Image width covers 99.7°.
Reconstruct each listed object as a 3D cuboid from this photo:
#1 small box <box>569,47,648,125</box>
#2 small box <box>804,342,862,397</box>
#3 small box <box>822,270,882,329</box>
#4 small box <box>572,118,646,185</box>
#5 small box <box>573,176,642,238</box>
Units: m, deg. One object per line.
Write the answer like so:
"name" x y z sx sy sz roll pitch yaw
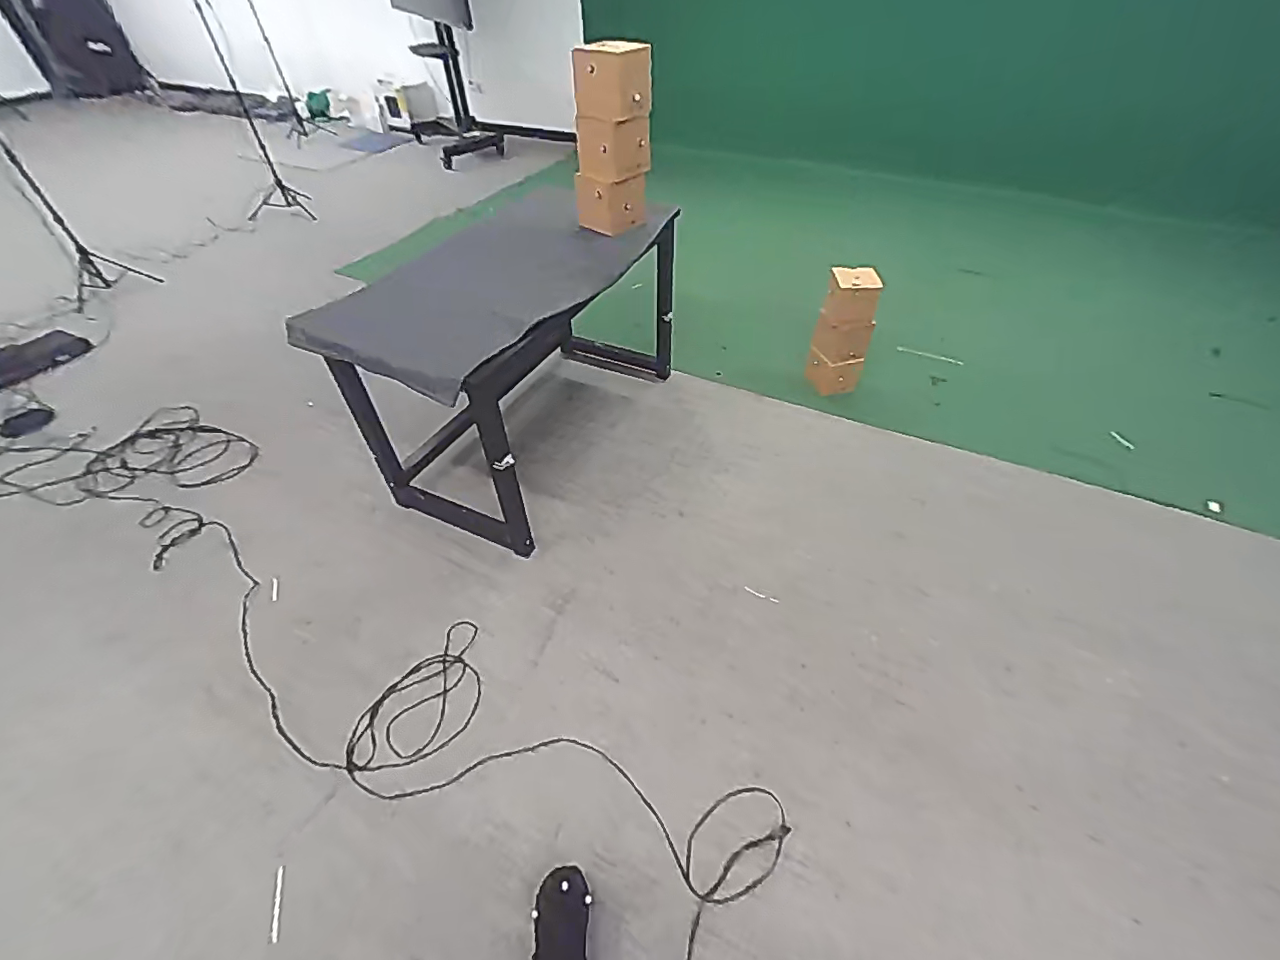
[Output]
"small box" -0.090 -1.193 1.637 0.179 0.176 0.168 26 51 25
"small box" 0.855 -0.488 2.409 0.168 0.176 0.179 -14 46 -11
"small box" 0.850 -0.732 2.189 0.168 0.176 0.179 0 45 2
"small box" -0.094 -1.074 1.750 0.179 0.176 0.168 30 52 30
"small box" -0.106 -0.950 1.857 0.168 0.176 0.179 -34 52 -28
